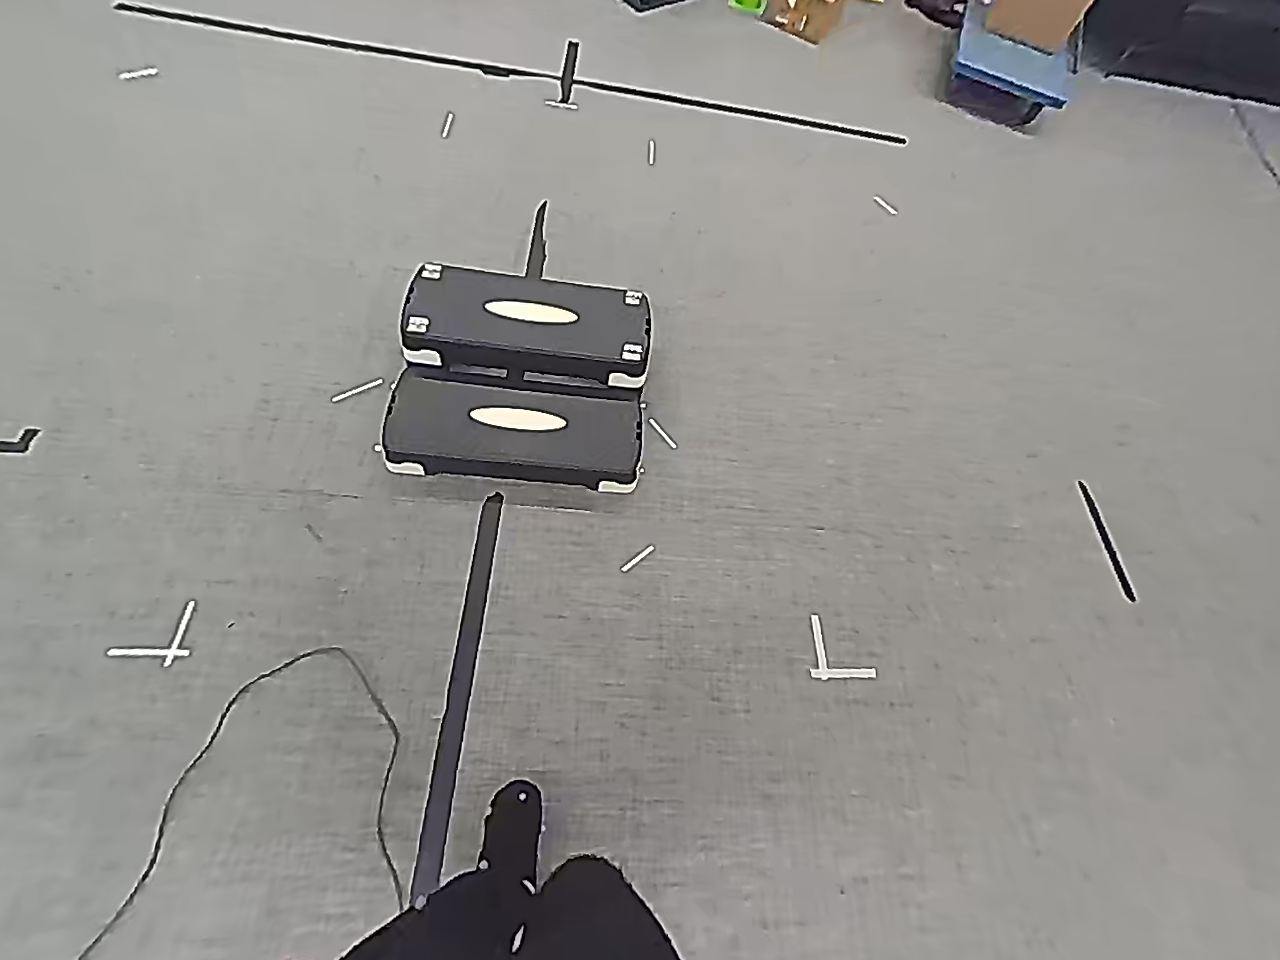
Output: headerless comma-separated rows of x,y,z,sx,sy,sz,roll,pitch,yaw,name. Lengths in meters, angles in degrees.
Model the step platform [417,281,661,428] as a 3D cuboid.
-0.280,-0.363,1.579,0.684,0.204,0.286,10,60,-5,step platform
